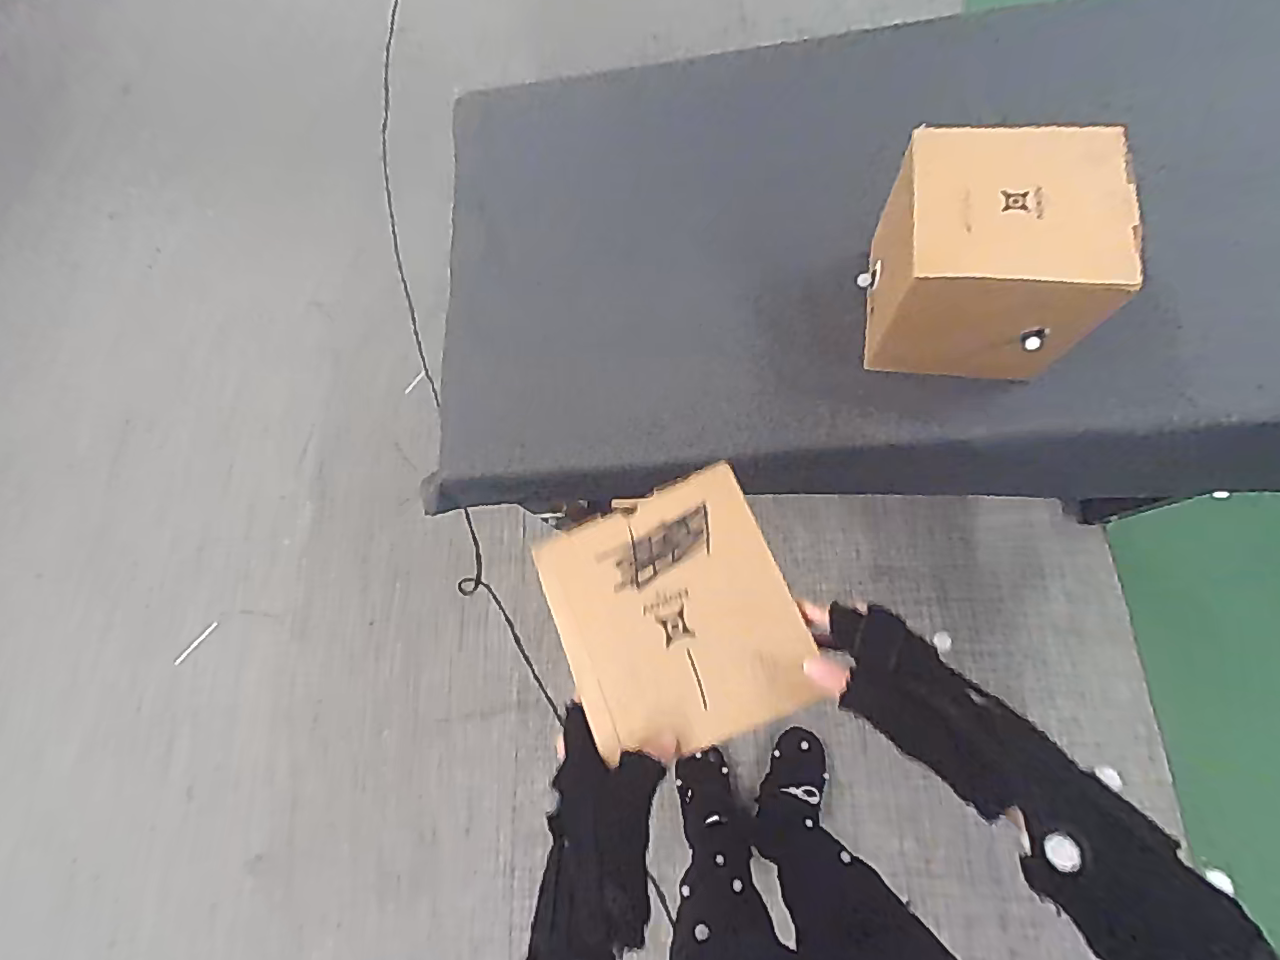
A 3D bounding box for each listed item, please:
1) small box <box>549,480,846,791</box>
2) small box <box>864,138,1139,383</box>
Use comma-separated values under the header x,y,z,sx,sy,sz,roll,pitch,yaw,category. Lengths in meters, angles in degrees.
x,y,z,sx,sy,sz,roll,pitch,yaw,category
0.046,0.129,0.464,0.168,0.176,0.179,-25,70,3,small box
0.344,-0.211,0.551,0.179,0.176,0.168,5,73,10,small box
